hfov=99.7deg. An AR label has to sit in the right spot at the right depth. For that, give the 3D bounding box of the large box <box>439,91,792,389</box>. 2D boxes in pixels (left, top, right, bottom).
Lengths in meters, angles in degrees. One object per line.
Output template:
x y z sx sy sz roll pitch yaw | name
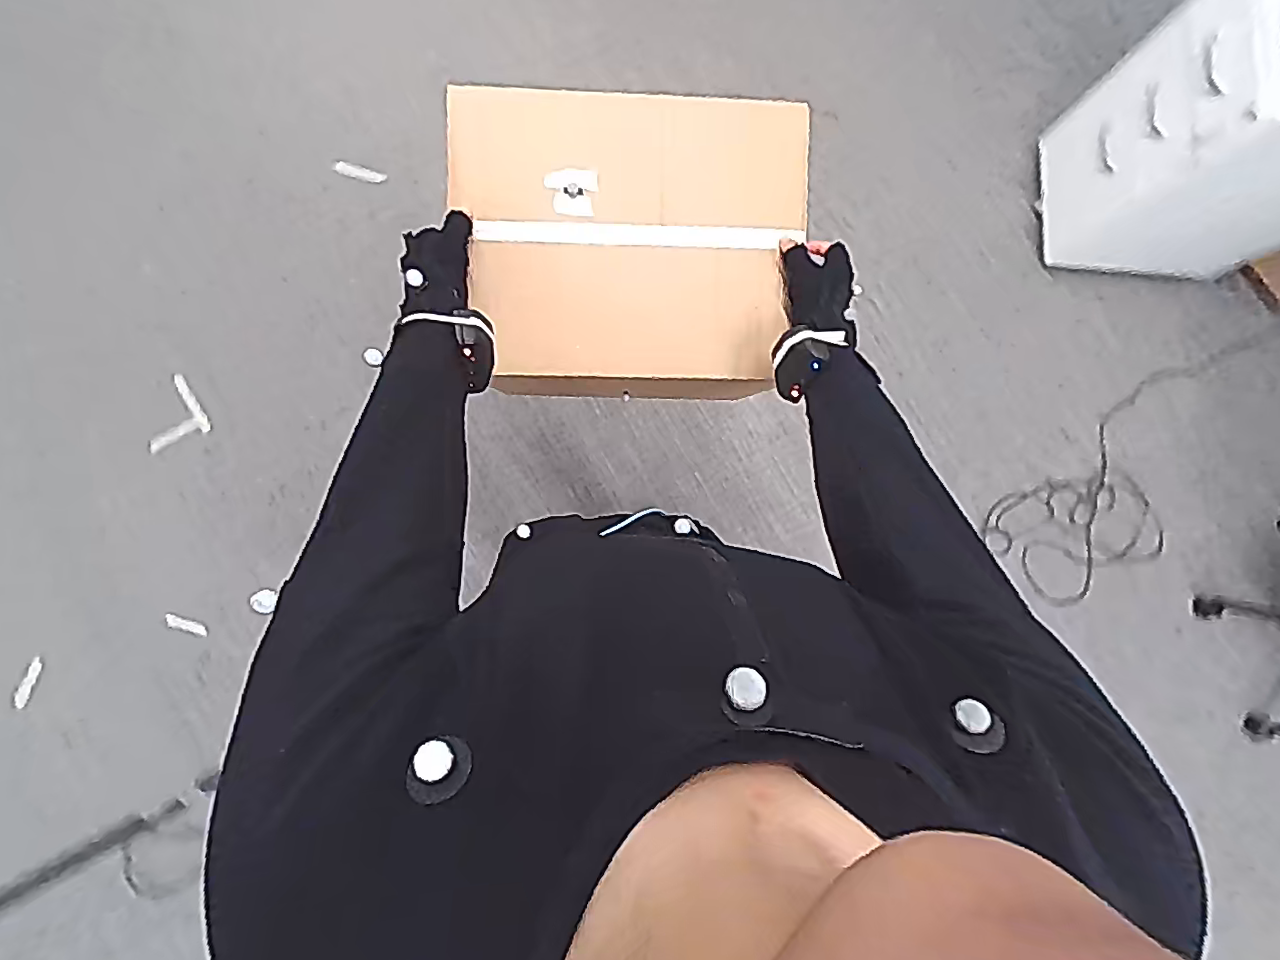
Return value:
-0.028 -0.296 0.767 0.408 0.320 0.320 -1 94 -3 | large box
